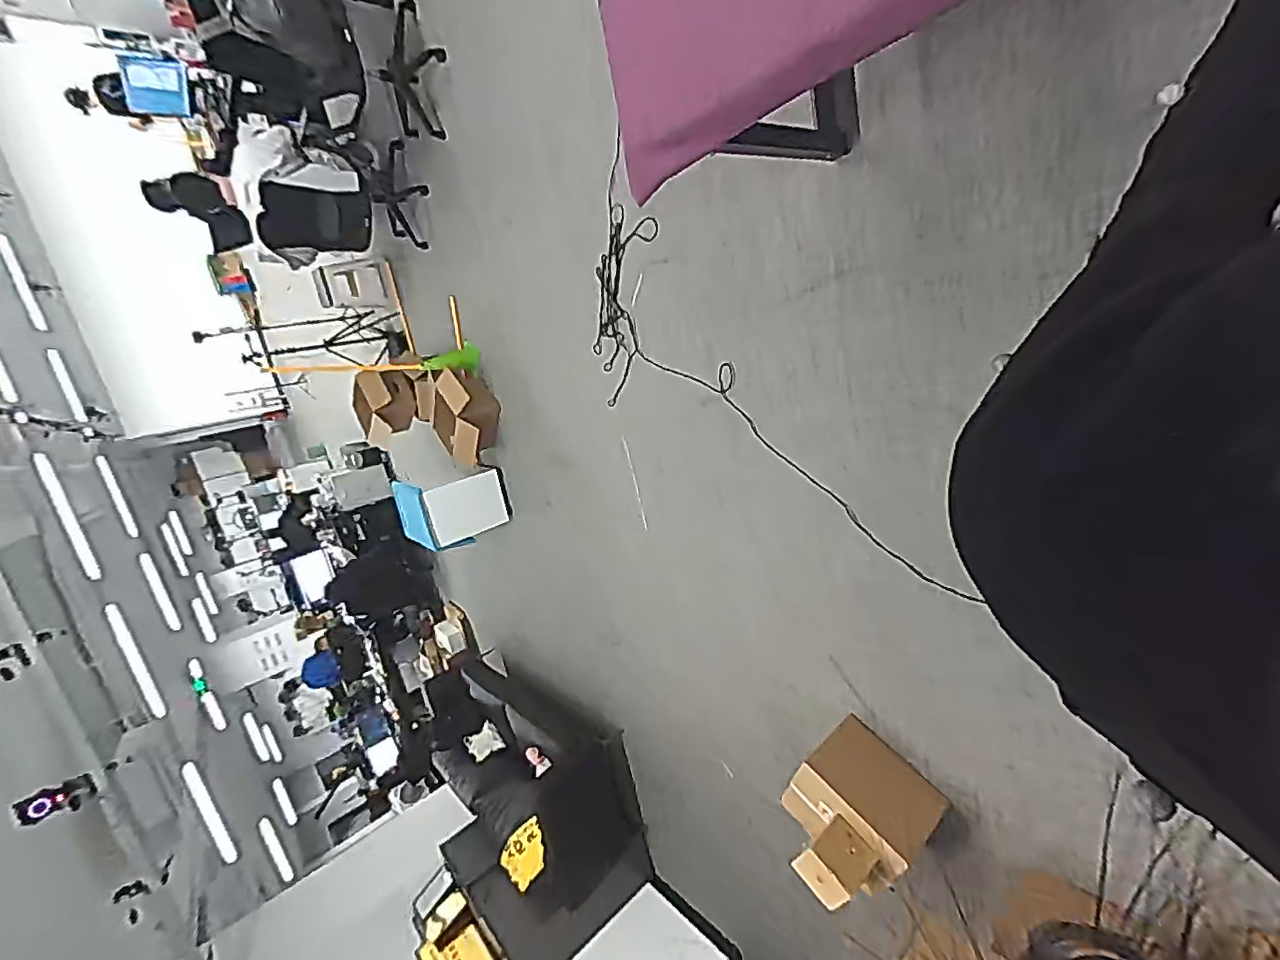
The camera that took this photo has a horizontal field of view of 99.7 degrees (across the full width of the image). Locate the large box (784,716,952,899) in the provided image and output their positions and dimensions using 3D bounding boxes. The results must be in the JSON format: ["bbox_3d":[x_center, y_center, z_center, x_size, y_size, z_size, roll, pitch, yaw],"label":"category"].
[{"bbox_3d":[0.802,1.151,1.933,0.408,0.320,0.320,40,135,35],"label":"large box"}]

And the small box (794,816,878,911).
[{"bbox_3d":[0.645,1.254,1.773,0.168,0.176,0.179,43,138,32],"label":"small box"}]
